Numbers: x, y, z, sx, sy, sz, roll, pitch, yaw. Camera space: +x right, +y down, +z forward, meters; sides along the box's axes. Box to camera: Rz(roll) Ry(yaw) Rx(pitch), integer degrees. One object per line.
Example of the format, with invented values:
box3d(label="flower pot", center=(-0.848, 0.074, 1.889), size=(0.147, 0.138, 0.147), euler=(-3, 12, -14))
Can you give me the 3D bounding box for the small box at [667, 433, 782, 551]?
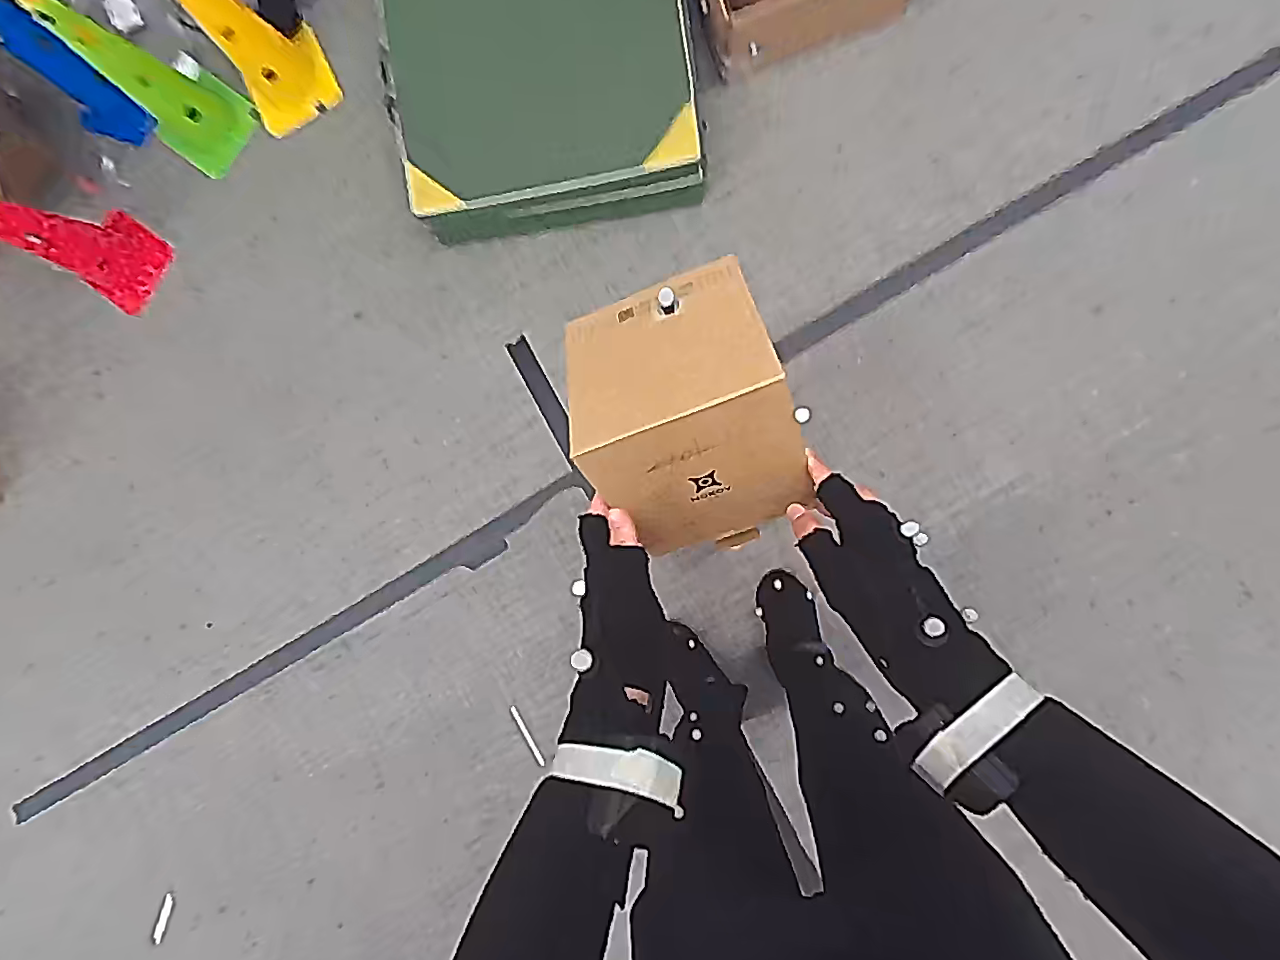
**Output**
box3d(label="small box", center=(0.171, 0.022, 1.110), size=(0.168, 0.176, 0.179), euler=(27, 93, 6))
